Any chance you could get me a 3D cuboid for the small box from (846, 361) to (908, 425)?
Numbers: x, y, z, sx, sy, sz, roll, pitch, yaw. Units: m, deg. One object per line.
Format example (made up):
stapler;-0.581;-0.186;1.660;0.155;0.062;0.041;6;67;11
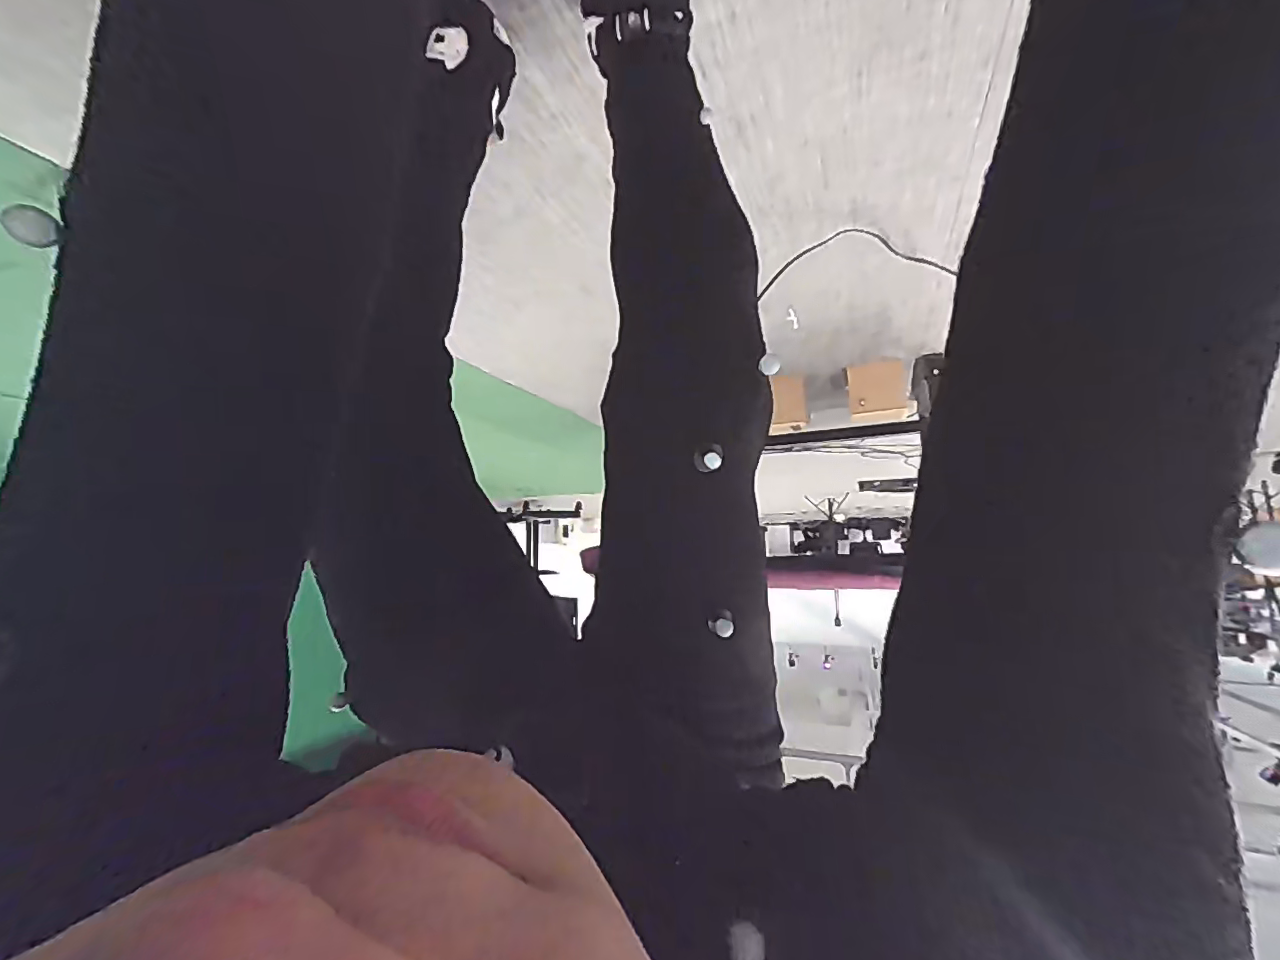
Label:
small box;0.802;-0.294;1.834;0.179;0.176;0.168;-4;171;24
